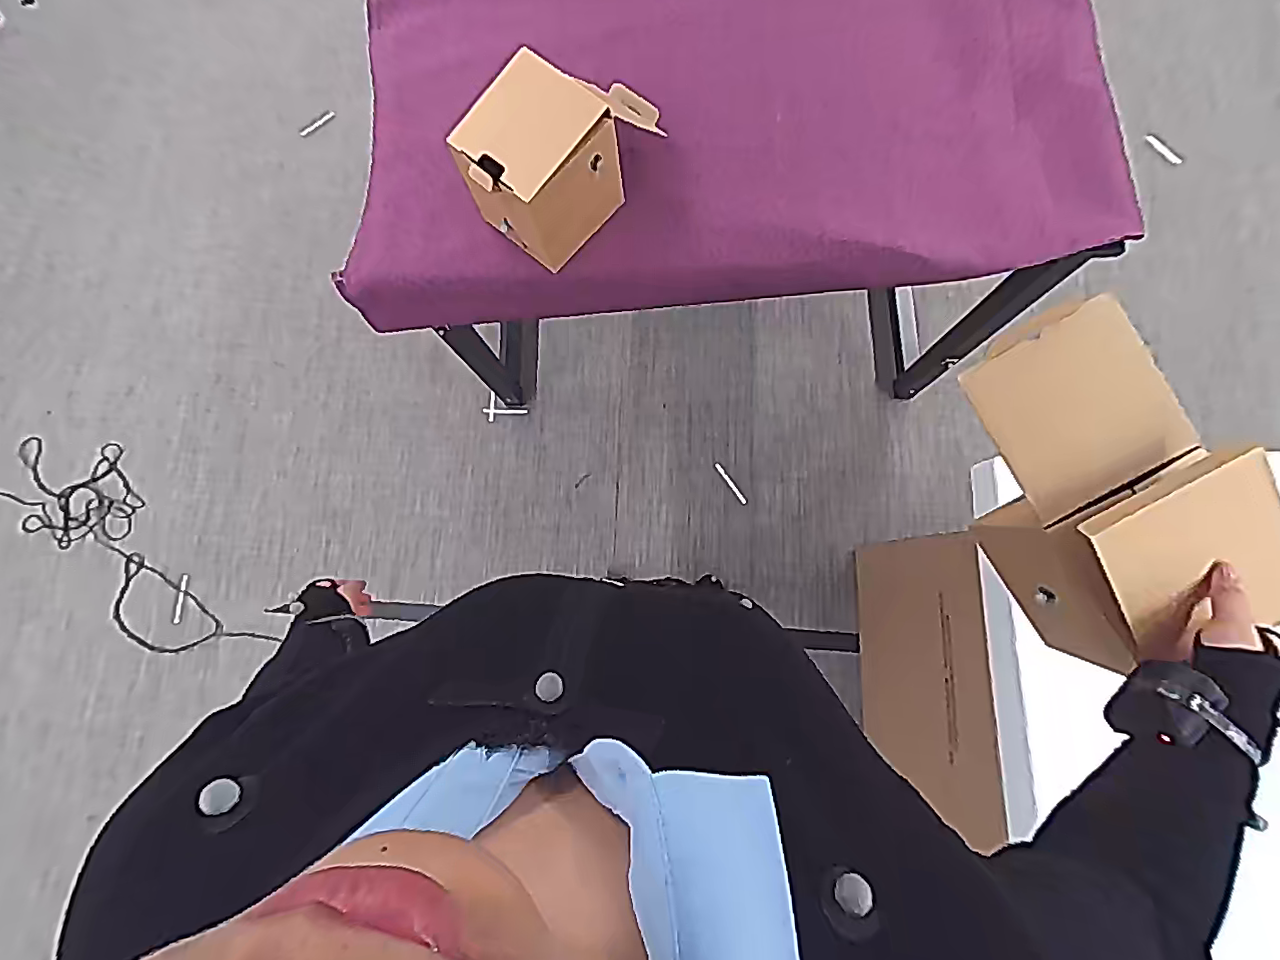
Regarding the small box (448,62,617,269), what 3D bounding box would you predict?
[{"bbox_3d":[-0.149,-0.469,0.827,0.168,0.176,0.179,41,83,11],"label":"small box"}]
